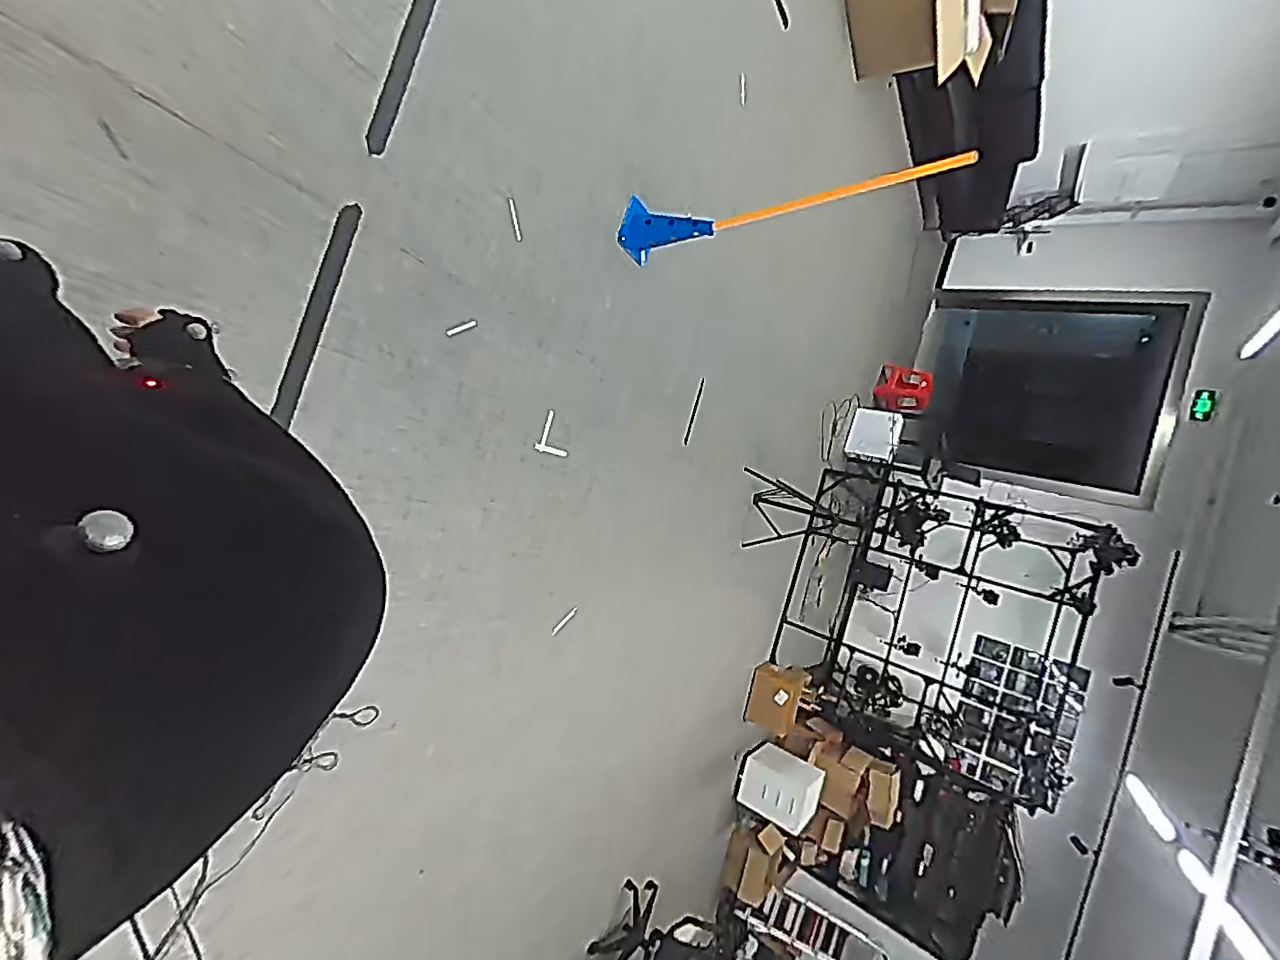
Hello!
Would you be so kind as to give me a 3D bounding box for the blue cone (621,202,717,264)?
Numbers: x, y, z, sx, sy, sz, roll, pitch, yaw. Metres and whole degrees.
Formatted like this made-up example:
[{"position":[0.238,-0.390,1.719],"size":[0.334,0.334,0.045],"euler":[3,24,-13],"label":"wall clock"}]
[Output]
[{"position":[0.129,-0.958,2.081],"size":[0.193,0.380,0.192],"euler":[26,82,-55],"label":"blue cone"}]
